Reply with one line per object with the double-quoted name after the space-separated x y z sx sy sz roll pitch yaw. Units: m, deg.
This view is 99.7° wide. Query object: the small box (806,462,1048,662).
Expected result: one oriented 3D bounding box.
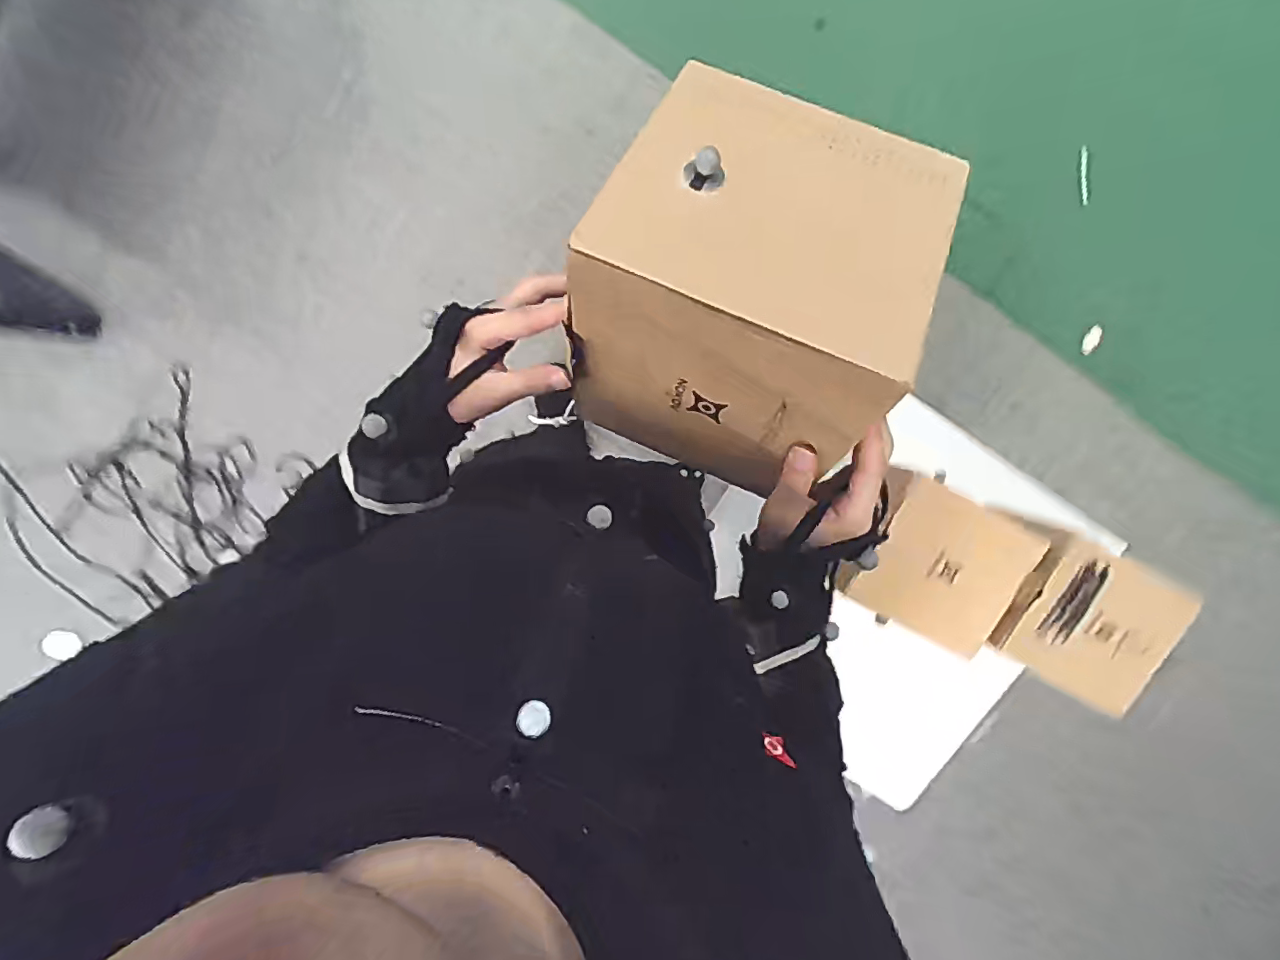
0.344 0.090 0.686 0.179 0.176 0.168 28 99 -4 "small box"
